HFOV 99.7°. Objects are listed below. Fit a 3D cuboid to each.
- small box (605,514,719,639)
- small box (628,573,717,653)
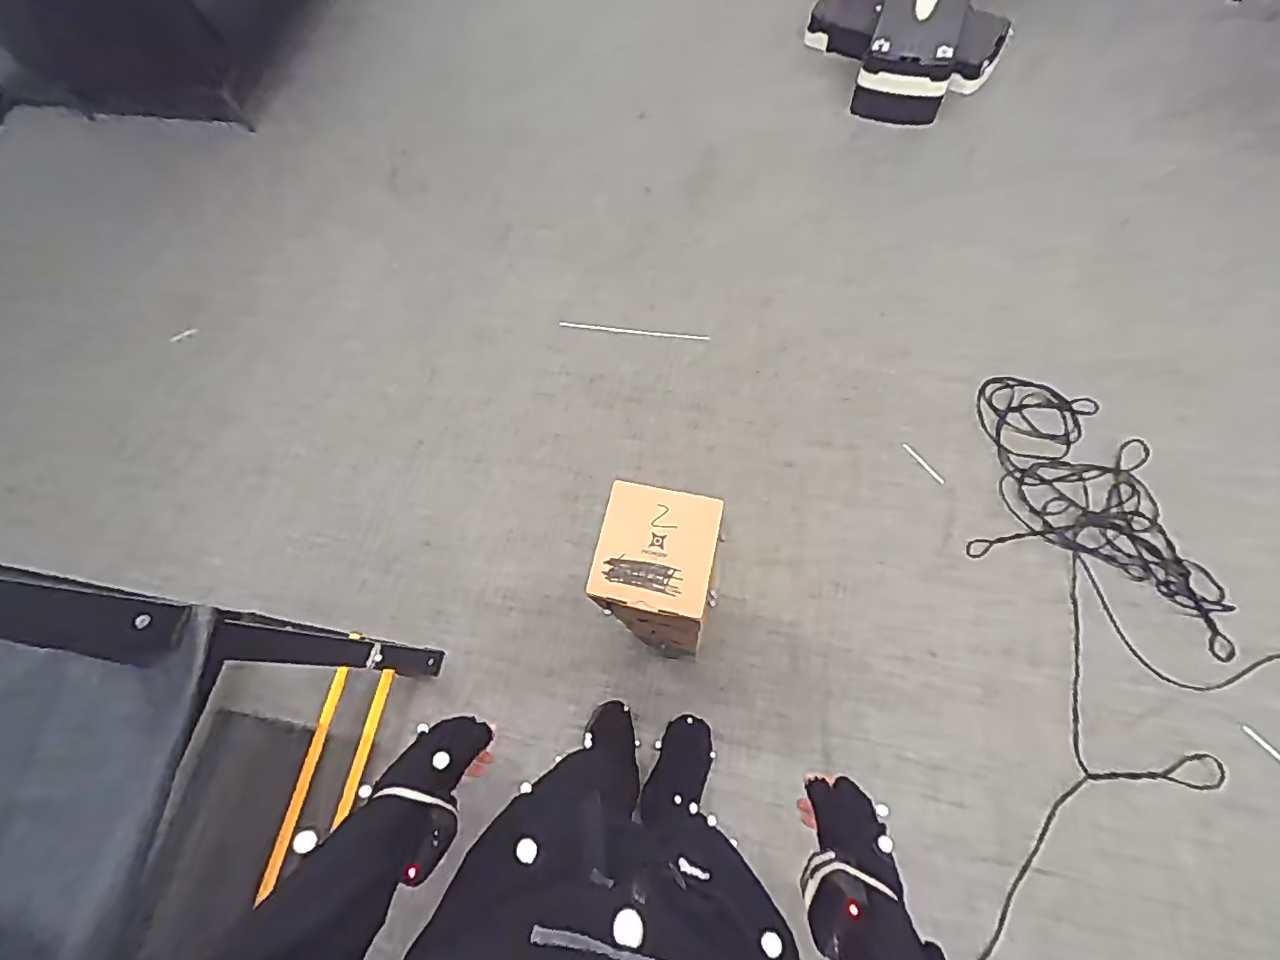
[{"bbox_3d":[0.047,0.184,0.995,0.168,0.176,0.179,12,70,10],"label":"small box"},{"bbox_3d":[0.082,0.303,1.297,0.168,0.176,0.179,14,71,12],"label":"small box"}]
